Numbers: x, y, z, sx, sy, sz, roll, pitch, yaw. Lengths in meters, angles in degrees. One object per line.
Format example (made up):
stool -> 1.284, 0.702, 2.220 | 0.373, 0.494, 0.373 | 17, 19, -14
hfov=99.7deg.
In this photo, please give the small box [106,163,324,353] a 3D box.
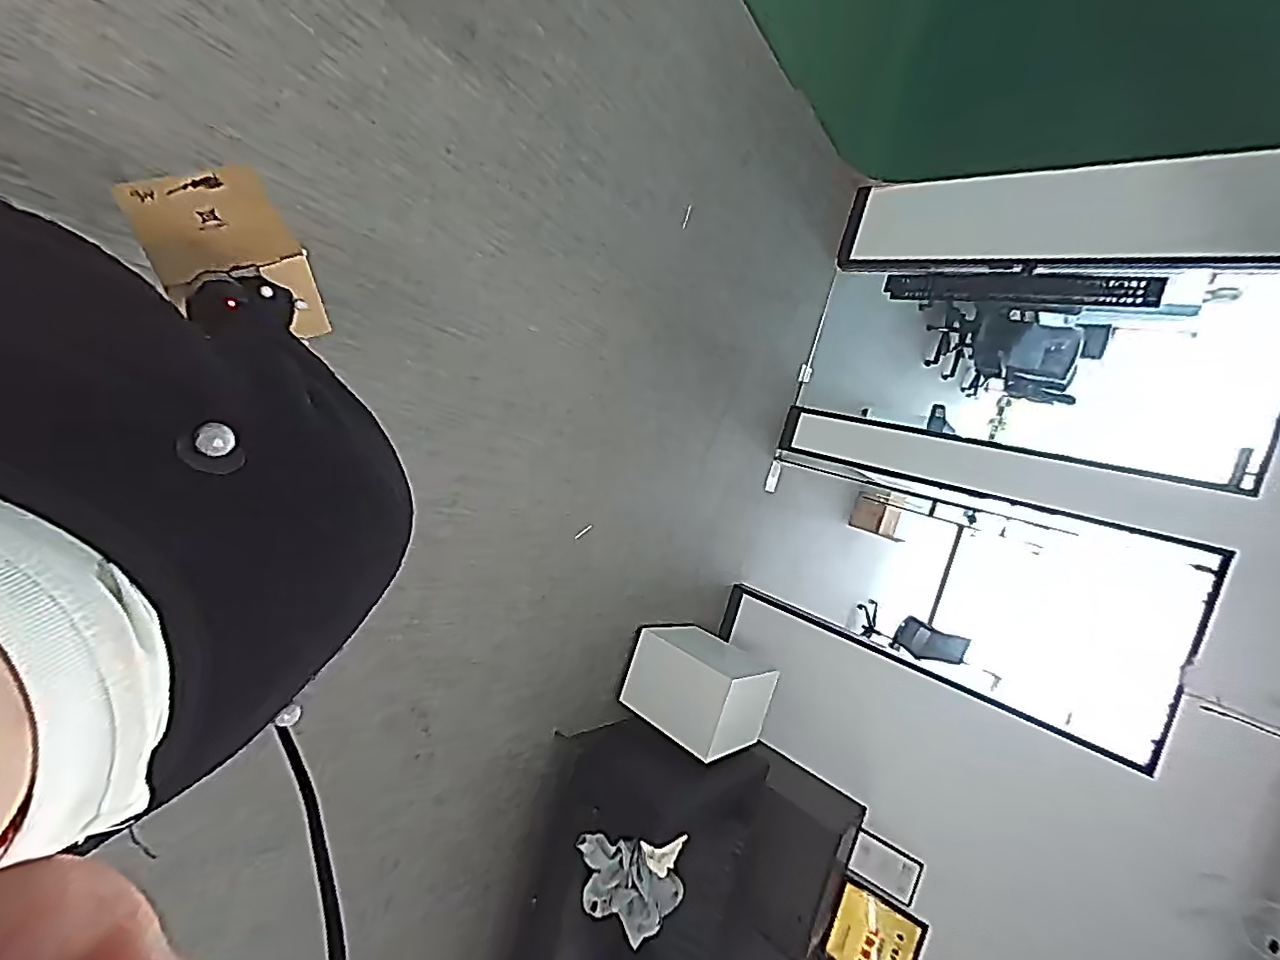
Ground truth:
small box -> -0.592, -0.309, 0.781 | 0.168, 0.179, 0.176 | -32, 170, -26
